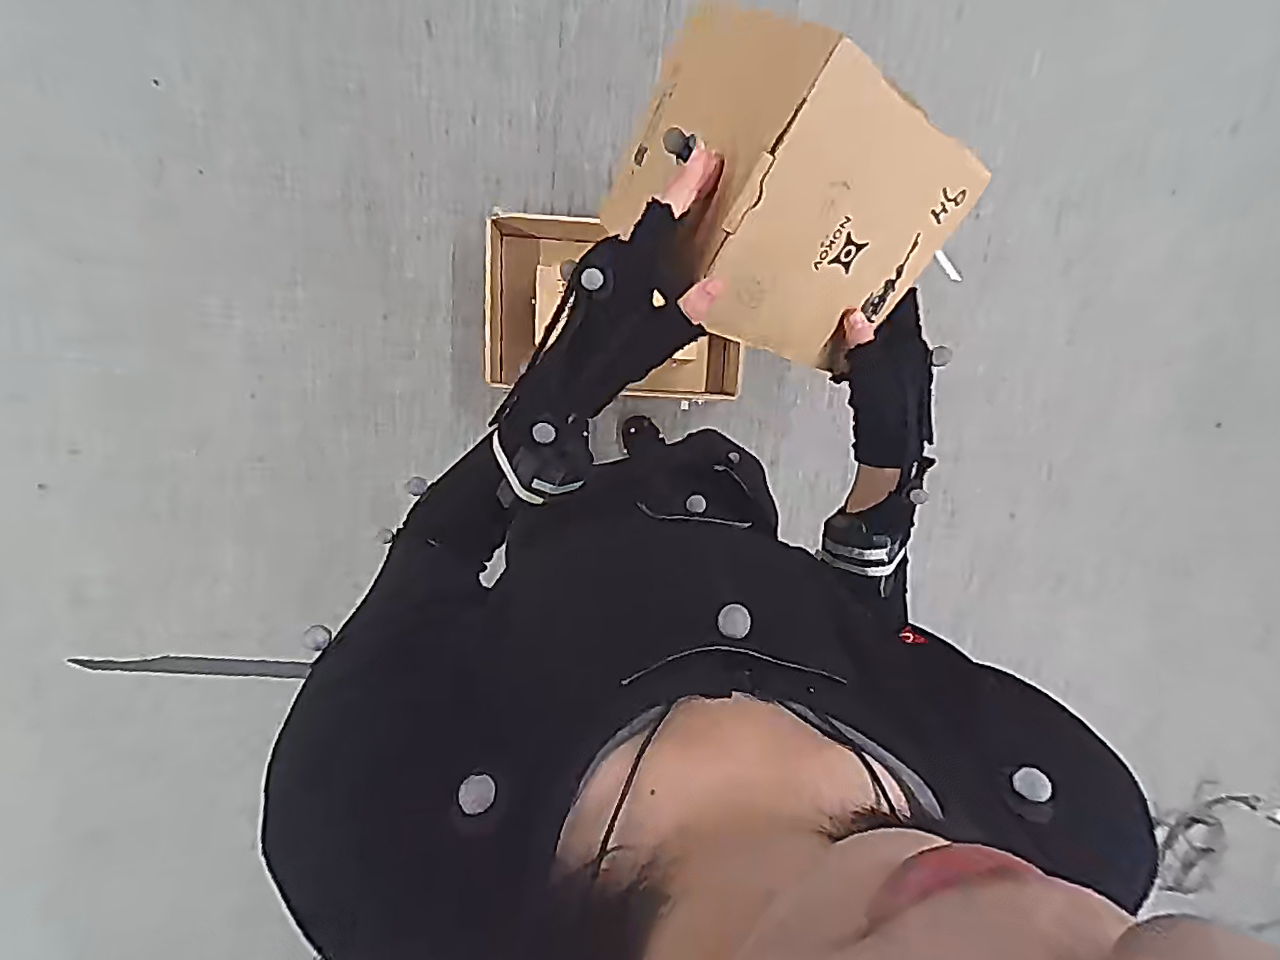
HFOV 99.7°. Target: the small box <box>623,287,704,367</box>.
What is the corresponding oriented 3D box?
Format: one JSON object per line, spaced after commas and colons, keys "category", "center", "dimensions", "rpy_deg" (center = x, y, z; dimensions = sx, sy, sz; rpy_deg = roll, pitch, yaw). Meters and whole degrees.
{"category": "small box", "center": [0.052, -0.373, 1.343], "dimensions": [0.179, 0.176, 0.168], "rpy_deg": [3, 98, -4]}
